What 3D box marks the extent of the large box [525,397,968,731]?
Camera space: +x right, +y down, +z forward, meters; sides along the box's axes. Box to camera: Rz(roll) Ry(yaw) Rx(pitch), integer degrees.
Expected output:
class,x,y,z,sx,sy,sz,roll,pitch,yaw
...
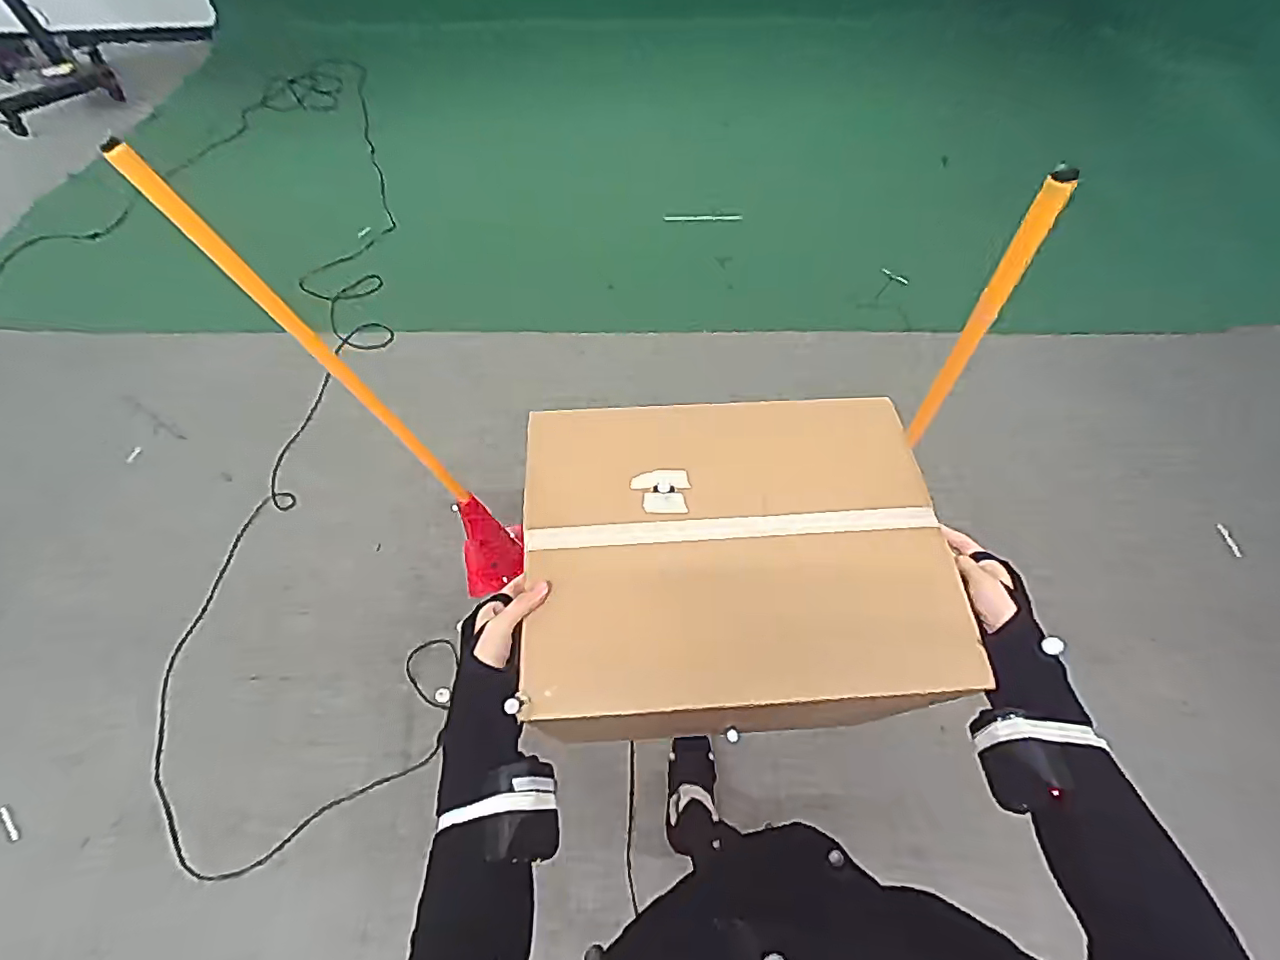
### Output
class,x,y,z,sx,sy,sz,roll,pitch,yaw
large box,0.087,0.122,0.673,0.408,0.320,0.320,-3,61,-2
